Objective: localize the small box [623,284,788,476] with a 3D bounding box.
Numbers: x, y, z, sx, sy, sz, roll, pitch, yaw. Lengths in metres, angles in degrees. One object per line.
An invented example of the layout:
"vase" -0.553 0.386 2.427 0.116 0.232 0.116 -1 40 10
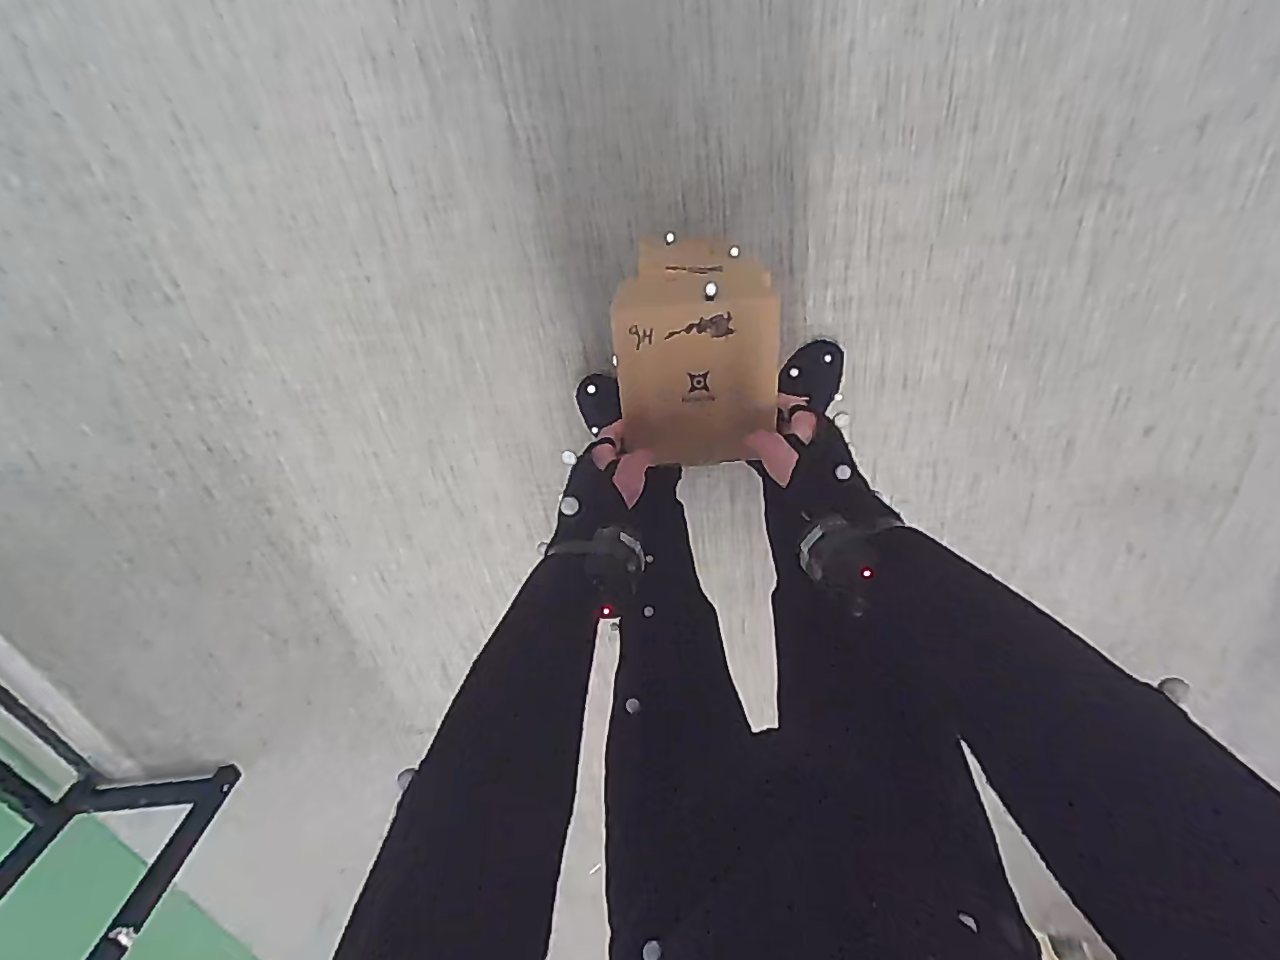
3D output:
"small box" 0.073 -0.122 0.641 0.168 0.176 0.179 -3 120 4

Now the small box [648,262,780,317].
"small box" 0.088 -0.207 0.780 0.168 0.176 0.179 6 120 -1

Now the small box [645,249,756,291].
"small box" 0.089 -0.289 0.923 0.168 0.176 0.179 5 121 0
